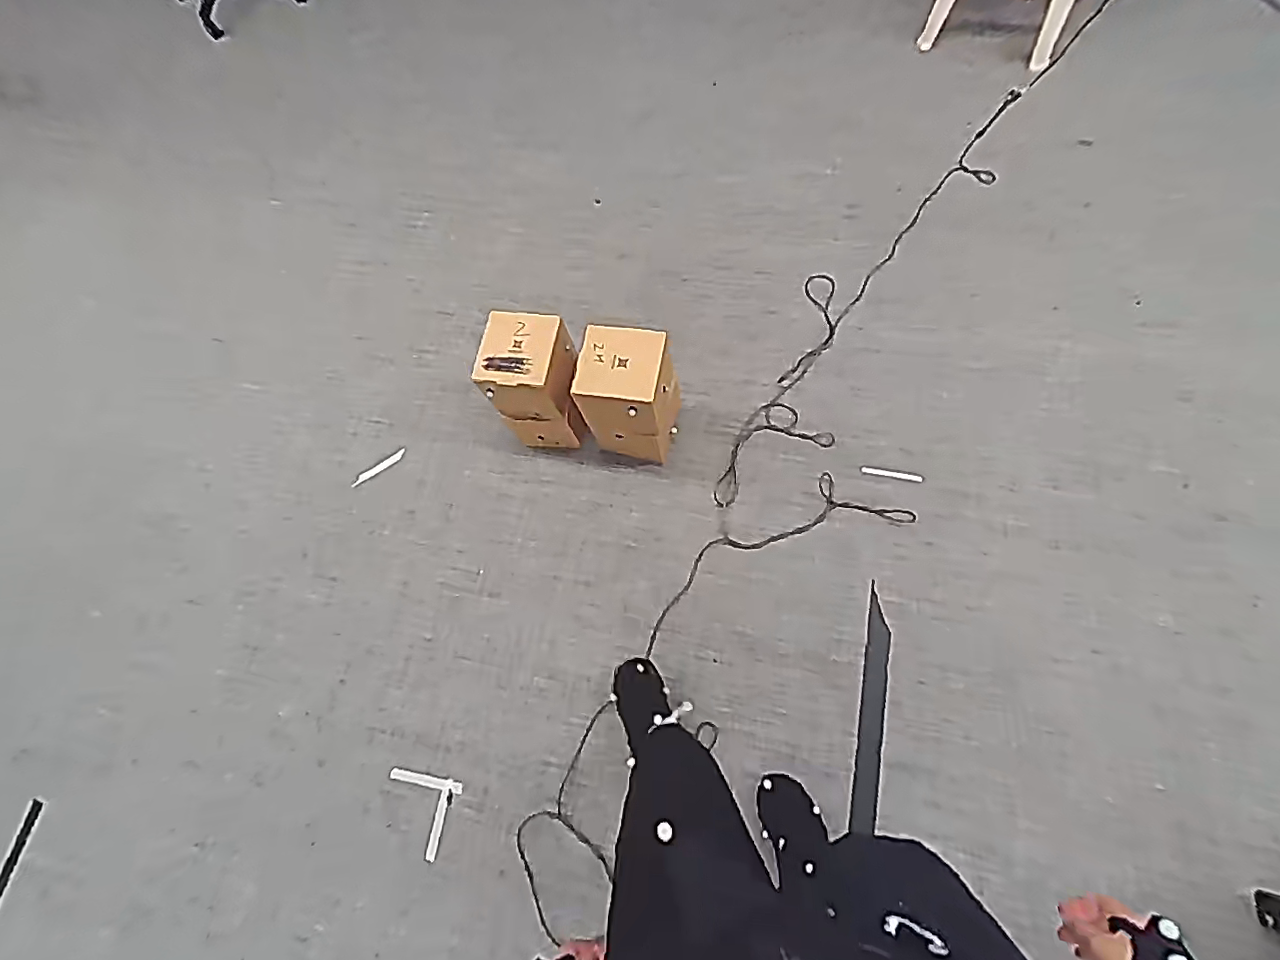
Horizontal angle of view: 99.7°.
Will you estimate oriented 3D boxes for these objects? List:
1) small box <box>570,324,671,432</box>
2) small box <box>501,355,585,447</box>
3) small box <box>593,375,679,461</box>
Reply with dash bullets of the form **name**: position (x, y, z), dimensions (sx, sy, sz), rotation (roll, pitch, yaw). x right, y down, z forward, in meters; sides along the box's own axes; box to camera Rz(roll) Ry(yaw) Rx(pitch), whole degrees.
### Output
- **small box**: position (-0.033, -0.216, 1.182), dimensions (0.179, 0.176, 0.168), rotation (8, 72, 11)
- **small box**: position (-0.237, -0.199, 1.382), dimensions (0.168, 0.176, 0.179), rotation (3, 72, 8)
- **small box**: position (-0.010, -0.163, 1.337), dimensions (0.179, 0.176, 0.168), rotation (15, 74, 12)
